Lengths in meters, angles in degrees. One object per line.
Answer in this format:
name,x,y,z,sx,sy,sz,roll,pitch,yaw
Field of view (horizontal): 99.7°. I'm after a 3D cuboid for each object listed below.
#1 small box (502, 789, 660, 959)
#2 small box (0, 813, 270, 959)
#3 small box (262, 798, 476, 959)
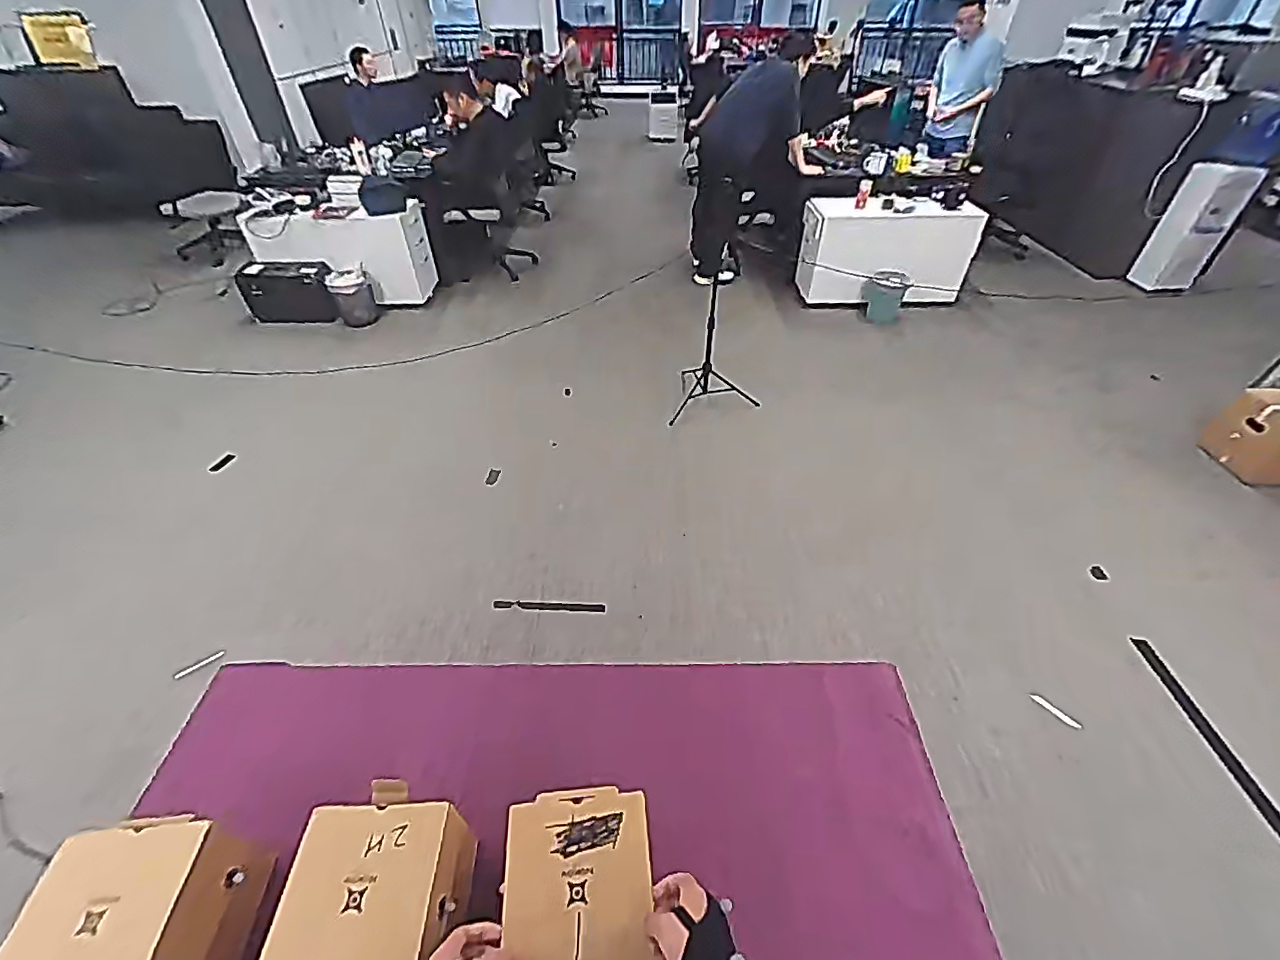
small box,-0.067,0.507,0.662,0.168,0.176,0.179,-3,43,-3
small box,-0.583,0.524,0.643,0.168,0.176,0.179,-2,42,-2
small box,-0.309,0.511,0.658,0.168,0.176,0.179,0,42,-1
